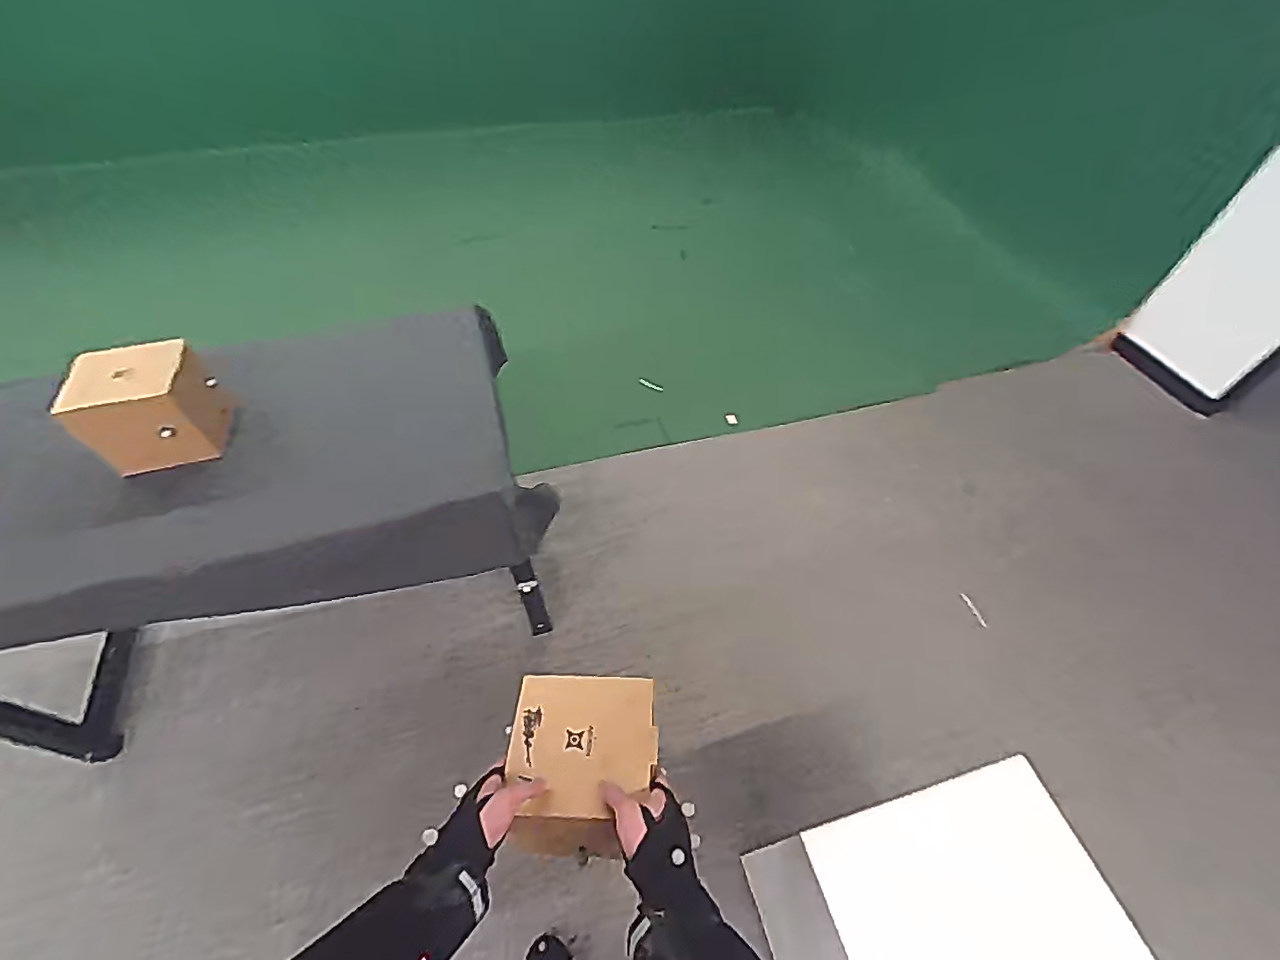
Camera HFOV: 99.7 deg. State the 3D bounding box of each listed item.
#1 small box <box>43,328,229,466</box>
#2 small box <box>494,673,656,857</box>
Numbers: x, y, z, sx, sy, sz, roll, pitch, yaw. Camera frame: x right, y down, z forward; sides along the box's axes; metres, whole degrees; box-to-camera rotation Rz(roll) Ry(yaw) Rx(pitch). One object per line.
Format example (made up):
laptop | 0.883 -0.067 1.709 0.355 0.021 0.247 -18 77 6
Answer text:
small box | -0.905 -0.149 0.996 0.179 0.176 0.168 -14 53 -11
small box | -0.072 0.370 0.699 0.179 0.176 0.168 2 44 1
